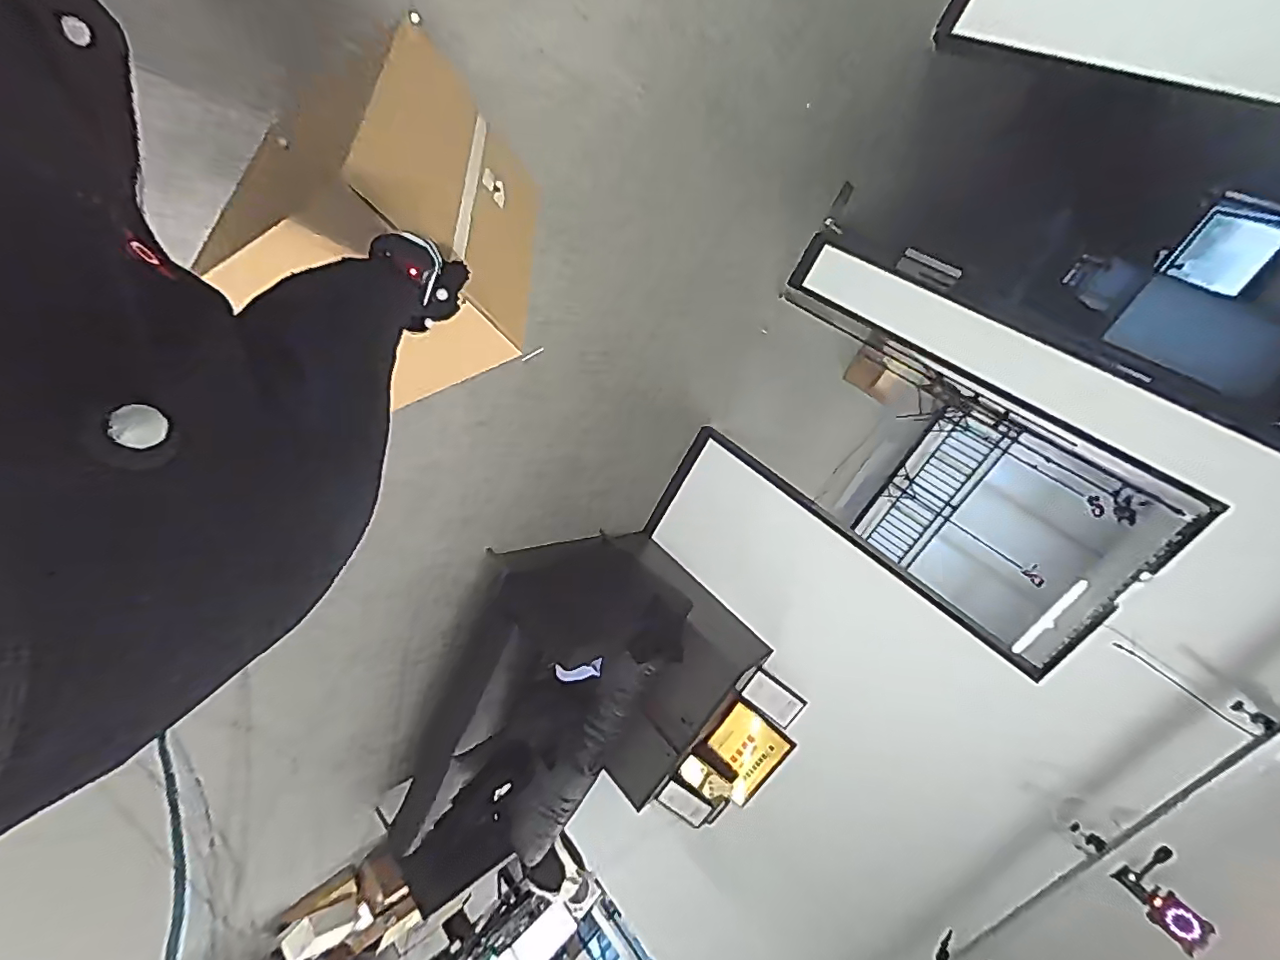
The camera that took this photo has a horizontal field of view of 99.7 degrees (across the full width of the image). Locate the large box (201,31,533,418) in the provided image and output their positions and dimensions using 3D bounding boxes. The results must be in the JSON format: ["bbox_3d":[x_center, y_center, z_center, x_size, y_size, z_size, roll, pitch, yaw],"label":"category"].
[{"bbox_3d":[-0.391,-0.374,0.858,0.320,0.408,0.320,-18,147,22],"label":"large box"}]
